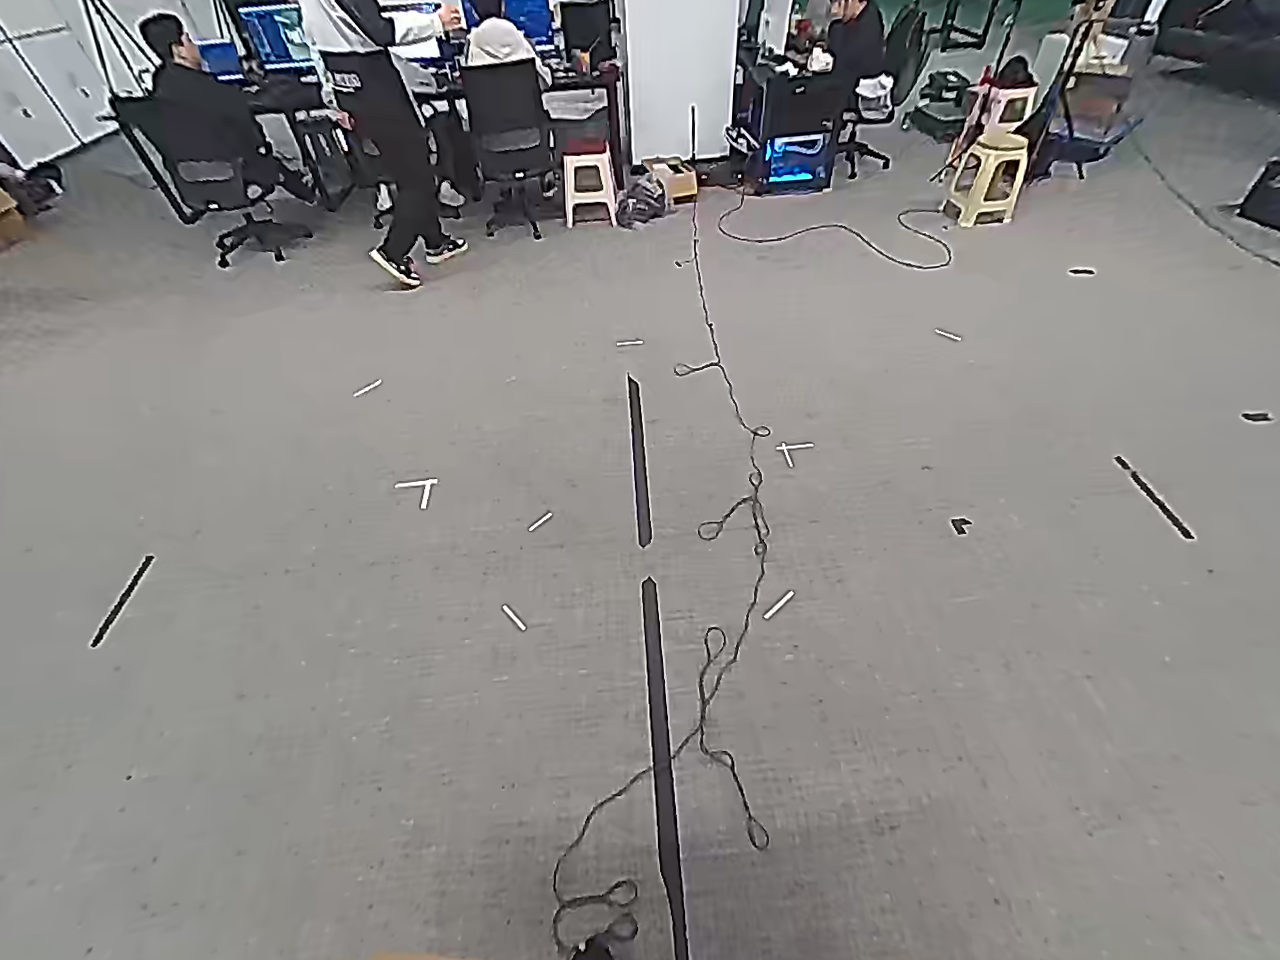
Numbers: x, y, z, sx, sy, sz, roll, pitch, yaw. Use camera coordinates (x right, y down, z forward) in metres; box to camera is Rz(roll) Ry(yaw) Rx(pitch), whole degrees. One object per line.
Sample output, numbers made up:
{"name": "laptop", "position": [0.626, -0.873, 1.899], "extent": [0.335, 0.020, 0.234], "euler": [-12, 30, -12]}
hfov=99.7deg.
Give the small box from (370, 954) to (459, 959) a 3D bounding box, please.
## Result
{"name": "small box", "position": [-0.291, 0.744, 0.663], "extent": [0.168, 0.176, 0.179], "euler": [8, 4, -4]}
